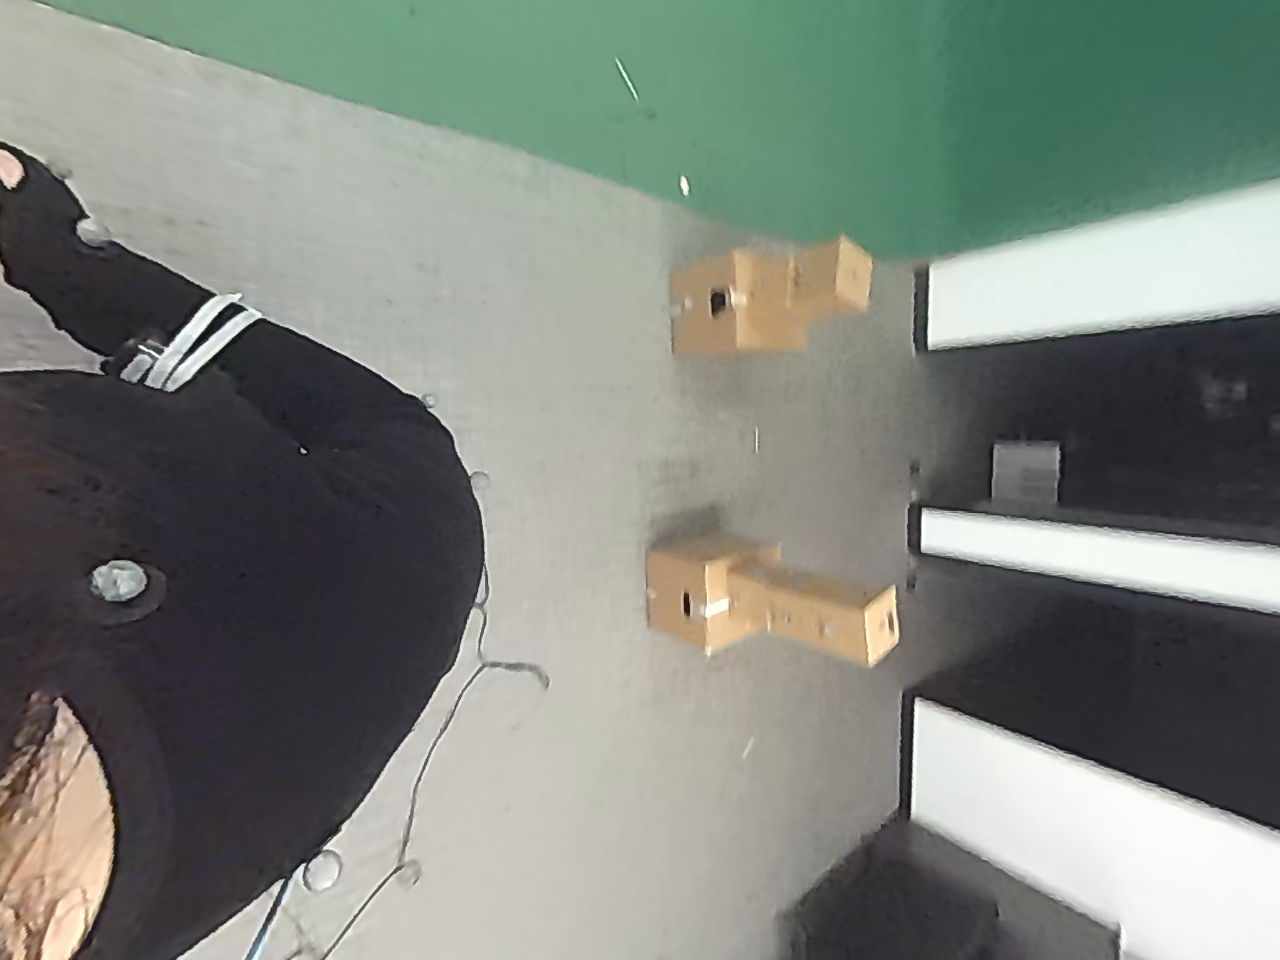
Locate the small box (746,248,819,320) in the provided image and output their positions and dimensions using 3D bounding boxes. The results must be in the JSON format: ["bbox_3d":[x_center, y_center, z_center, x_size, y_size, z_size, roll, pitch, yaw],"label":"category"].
[{"bbox_3d":[0.476,-0.636,1.778,0.179,0.176,0.168,5,90,-38],"label":"small box"}]

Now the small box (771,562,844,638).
[{"bbox_3d":[0.532,0.372,1.713,0.179,0.176,0.168,-19,105,-35],"label":"small box"}]

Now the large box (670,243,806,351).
[{"bbox_3d":[0.364,-0.652,2.000,0.408,0.320,0.320,-9,100,-39],"label":"large box"}]

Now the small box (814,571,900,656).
[{"bbox_3d":[0.636,0.381,1.584,0.179,0.176,0.168,-20,105,-35],"label":"small box"}]

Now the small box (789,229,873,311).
[{"bbox_3d":[0.584,-0.632,1.656,0.179,0.176,0.168,9,87,-38],"label":"small box"}]
